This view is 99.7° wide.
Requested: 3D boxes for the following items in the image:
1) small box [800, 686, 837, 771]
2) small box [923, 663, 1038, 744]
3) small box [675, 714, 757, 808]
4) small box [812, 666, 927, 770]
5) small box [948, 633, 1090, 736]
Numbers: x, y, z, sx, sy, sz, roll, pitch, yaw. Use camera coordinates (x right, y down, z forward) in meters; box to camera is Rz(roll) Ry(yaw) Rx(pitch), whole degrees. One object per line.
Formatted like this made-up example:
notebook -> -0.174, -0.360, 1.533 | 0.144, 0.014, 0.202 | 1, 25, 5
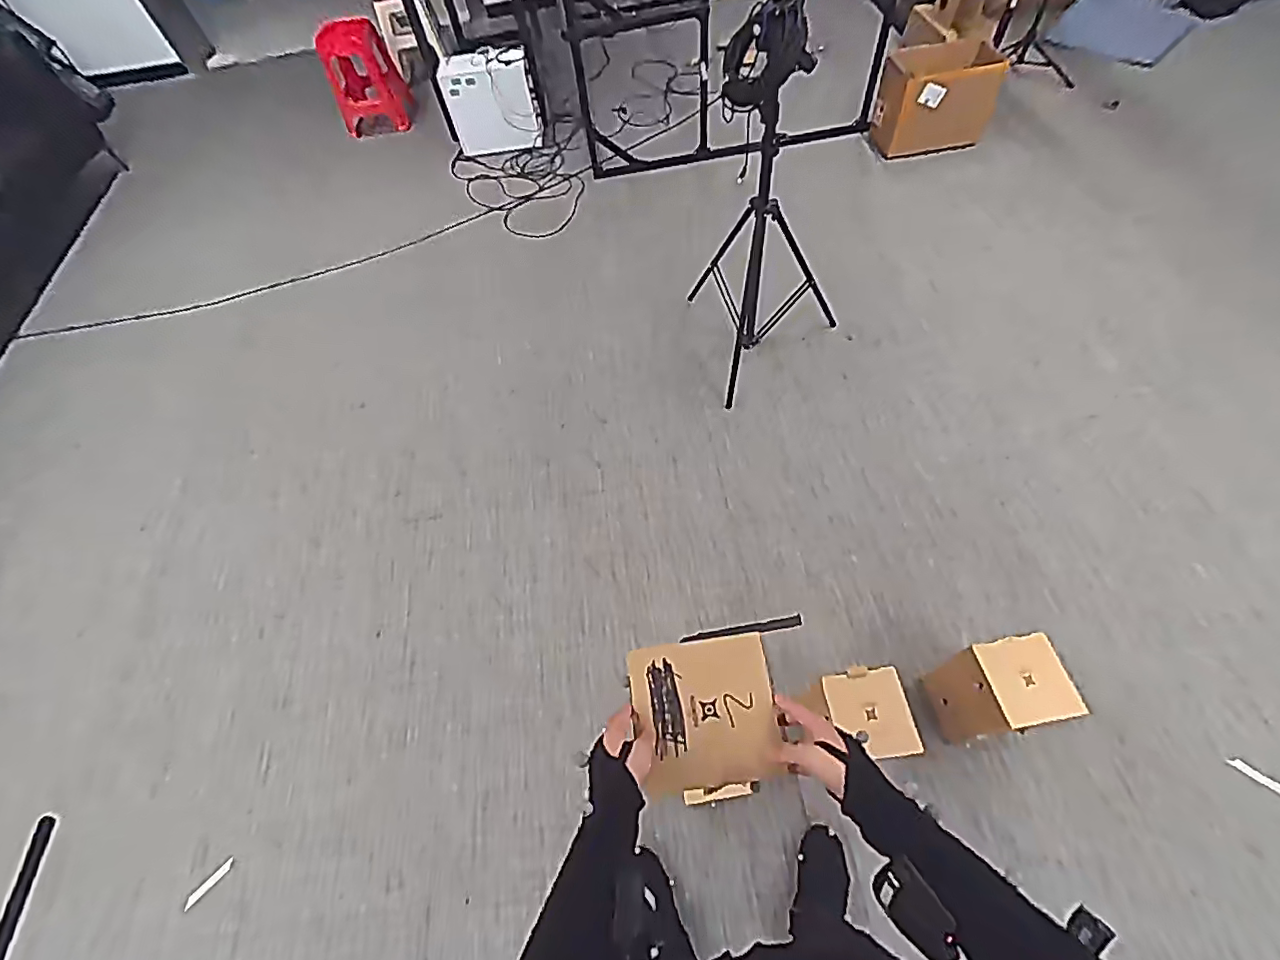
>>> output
small box -> 0.508, 0.611, 1.342 | 0.168, 0.176, 0.179 | -9, 59, 1
small box -> 0.842, 0.547, 1.345 | 0.168, 0.176, 0.179 | -12, 58, -1
small box -> 0.181, 0.694, 1.330 | 0.168, 0.176, 0.179 | -11, 58, 1
small box -> 0.494, 0.531, 1.199 | 0.168, 0.176, 0.179 | -9, 58, 1
small box -> 0.830, 0.462, 1.207 | 0.168, 0.176, 0.179 | -11, 57, -1
